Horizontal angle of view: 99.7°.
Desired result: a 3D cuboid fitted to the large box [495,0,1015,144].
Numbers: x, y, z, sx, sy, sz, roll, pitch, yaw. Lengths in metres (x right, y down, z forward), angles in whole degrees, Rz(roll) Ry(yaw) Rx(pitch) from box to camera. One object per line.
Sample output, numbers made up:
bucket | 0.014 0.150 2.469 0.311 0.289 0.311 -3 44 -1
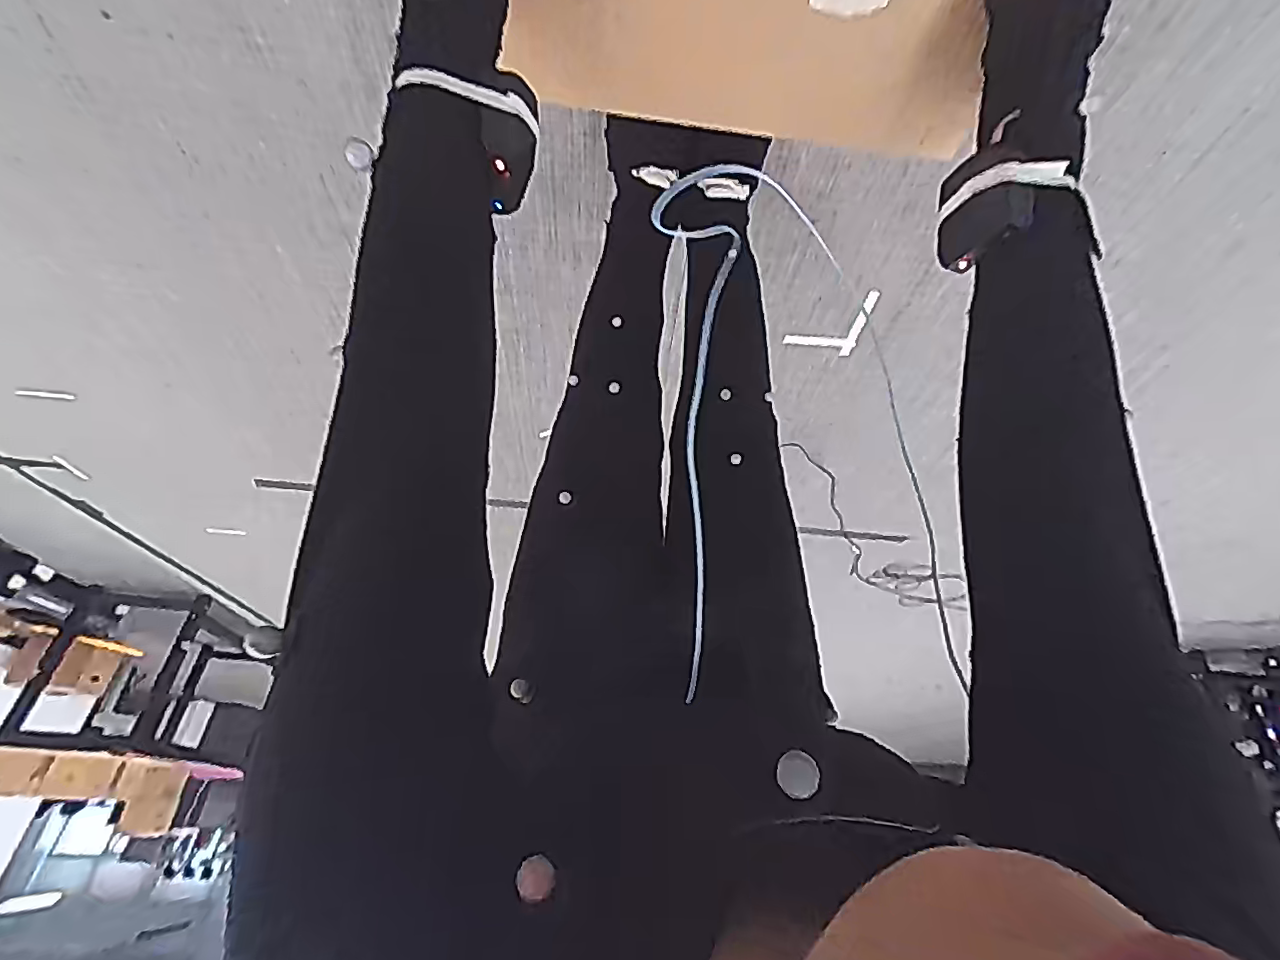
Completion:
large box | 0.097 -0.528 0.450 0.408 0.320 0.320 6 143 -4
